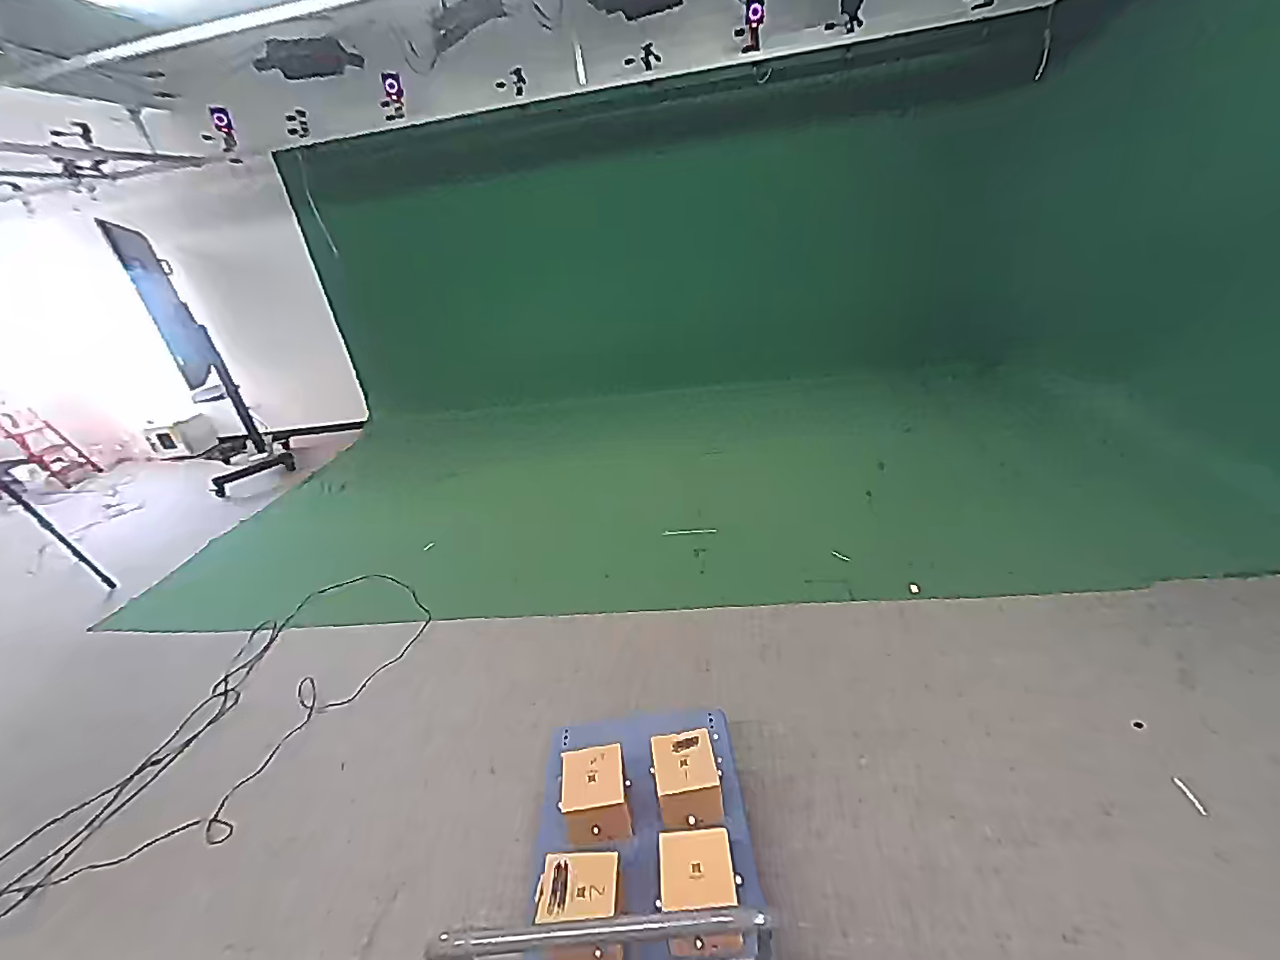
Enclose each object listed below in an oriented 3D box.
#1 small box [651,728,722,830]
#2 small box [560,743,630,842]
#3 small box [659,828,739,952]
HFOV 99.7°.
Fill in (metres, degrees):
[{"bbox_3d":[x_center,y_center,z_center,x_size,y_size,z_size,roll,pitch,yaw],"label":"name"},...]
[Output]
[{"bbox_3d":[0.127,0.826,1.499,0.168,0.176,0.179,-10,29,0],"label":"small box"},{"bbox_3d":[-0.122,0.867,1.493,0.168,0.176,0.179,-8,28,-1],"label":"small box"},{"bbox_3d":[0.135,0.953,1.260,0.168,0.176,0.179,-7,28,3],"label":"small box"}]
